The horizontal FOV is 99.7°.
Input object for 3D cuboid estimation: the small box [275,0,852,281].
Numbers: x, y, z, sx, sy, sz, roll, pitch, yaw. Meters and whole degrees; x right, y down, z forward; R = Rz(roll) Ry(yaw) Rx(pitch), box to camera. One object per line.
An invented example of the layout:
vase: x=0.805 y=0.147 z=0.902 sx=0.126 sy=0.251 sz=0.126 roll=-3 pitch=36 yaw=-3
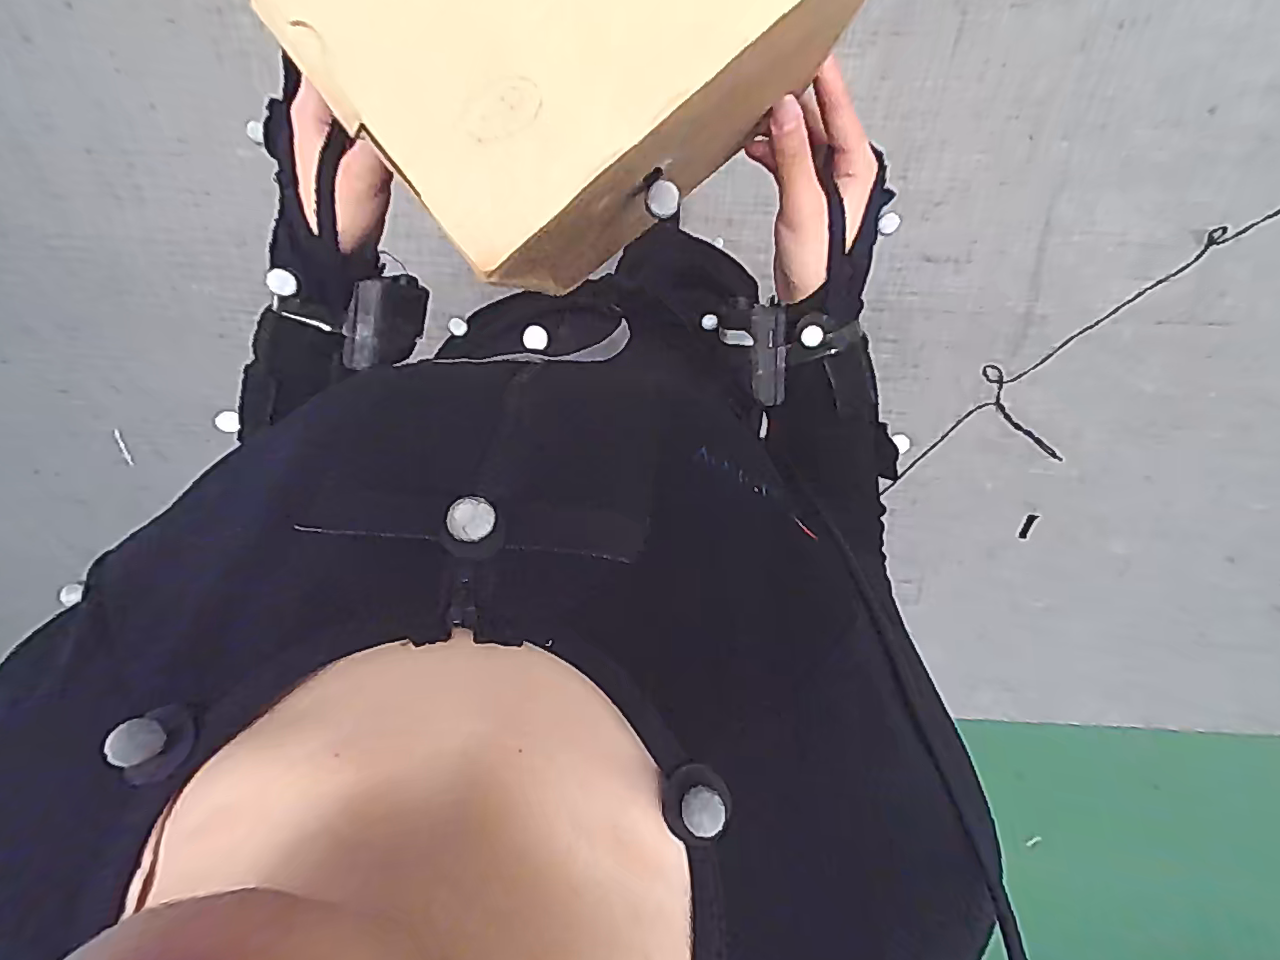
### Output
small box: x=-0.027 y=-0.203 z=0.226 sx=0.179 sy=0.176 sz=0.168 roll=-35 pitch=102 yaw=12
